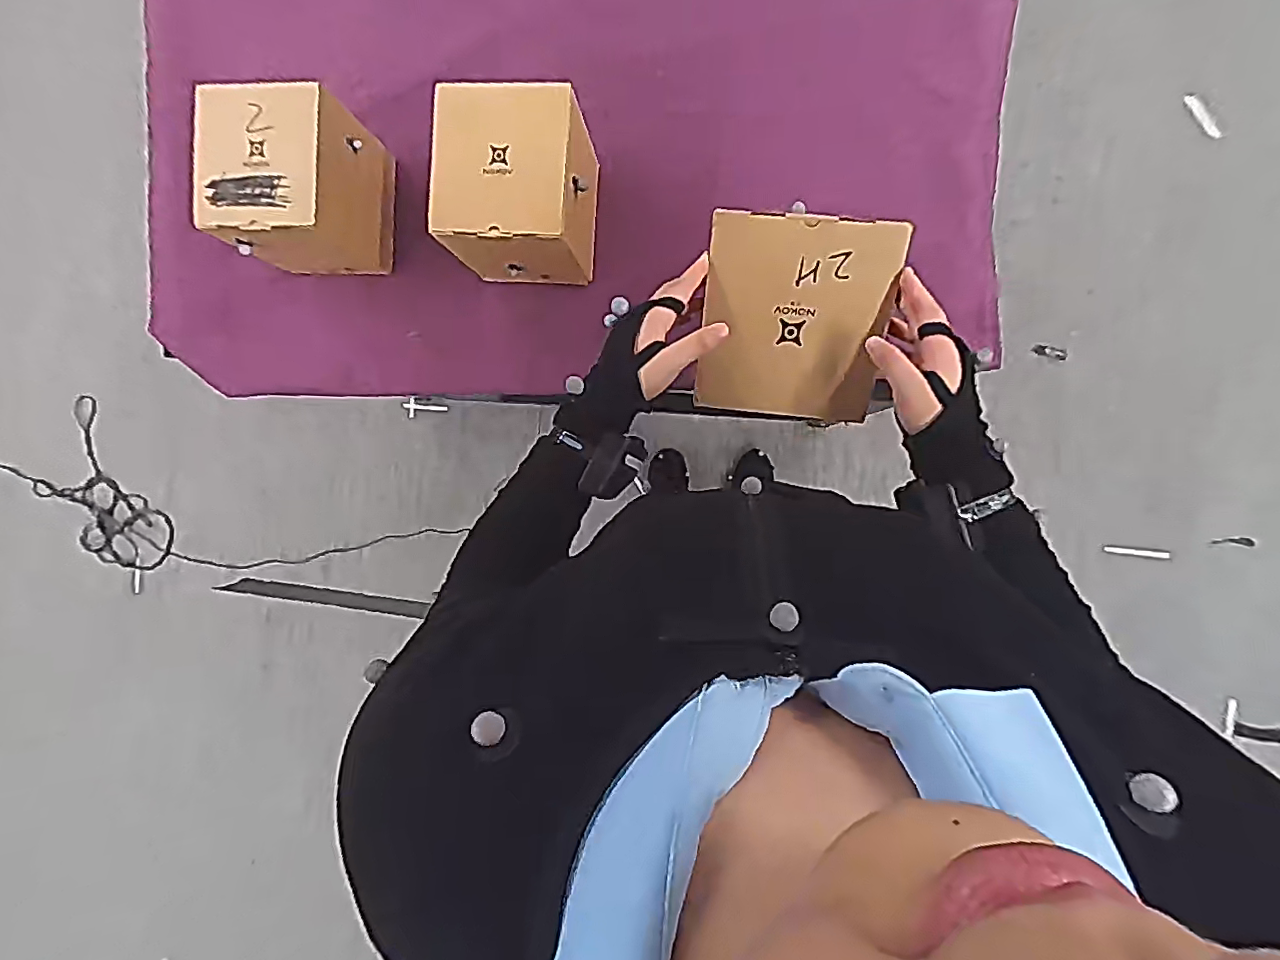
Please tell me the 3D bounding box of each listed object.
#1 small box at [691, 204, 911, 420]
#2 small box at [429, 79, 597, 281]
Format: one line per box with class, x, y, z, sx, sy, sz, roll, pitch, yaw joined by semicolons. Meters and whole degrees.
small box;0.148;-0.177;0.557;0.168;0.176;0.179;7;114;5
small box;-0.154;-0.378;0.707;0.168;0.176;0.179;4;93;6
